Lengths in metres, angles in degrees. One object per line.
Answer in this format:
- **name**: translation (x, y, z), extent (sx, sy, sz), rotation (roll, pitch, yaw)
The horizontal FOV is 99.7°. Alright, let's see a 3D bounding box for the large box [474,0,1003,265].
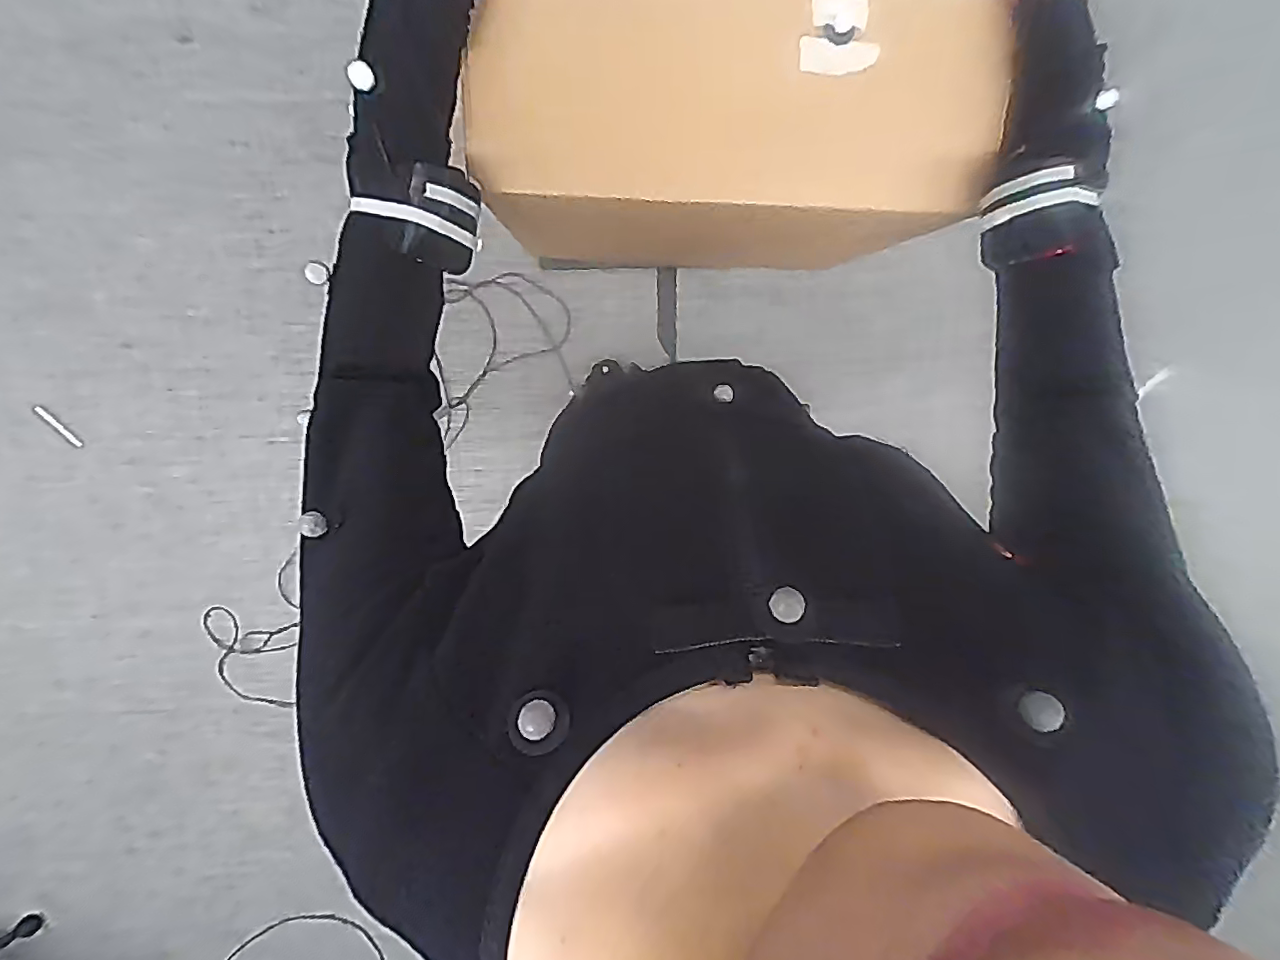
- **large box**: translation (0.066, -0.405, 0.540), extent (0.408, 0.320, 0.320), rotation (0, 103, -4)
